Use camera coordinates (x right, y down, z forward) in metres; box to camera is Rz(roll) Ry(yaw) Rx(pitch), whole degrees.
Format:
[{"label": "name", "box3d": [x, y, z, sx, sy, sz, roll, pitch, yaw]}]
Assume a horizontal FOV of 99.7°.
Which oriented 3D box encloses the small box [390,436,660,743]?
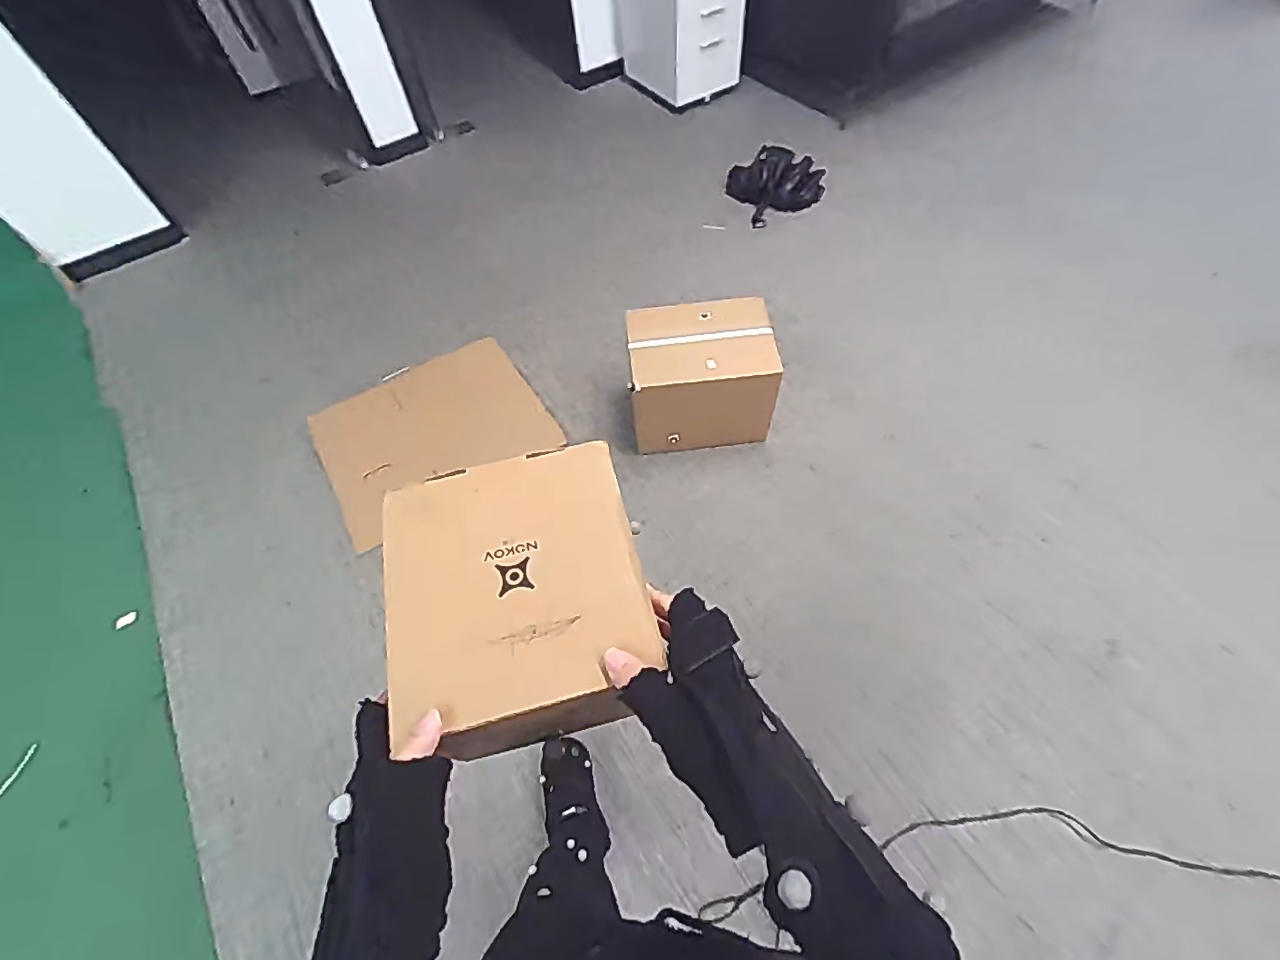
[{"label": "small box", "box3d": [-0.085, 0.095, 0.438, 0.168, 0.176, 0.179, -13, 60, -6]}]
